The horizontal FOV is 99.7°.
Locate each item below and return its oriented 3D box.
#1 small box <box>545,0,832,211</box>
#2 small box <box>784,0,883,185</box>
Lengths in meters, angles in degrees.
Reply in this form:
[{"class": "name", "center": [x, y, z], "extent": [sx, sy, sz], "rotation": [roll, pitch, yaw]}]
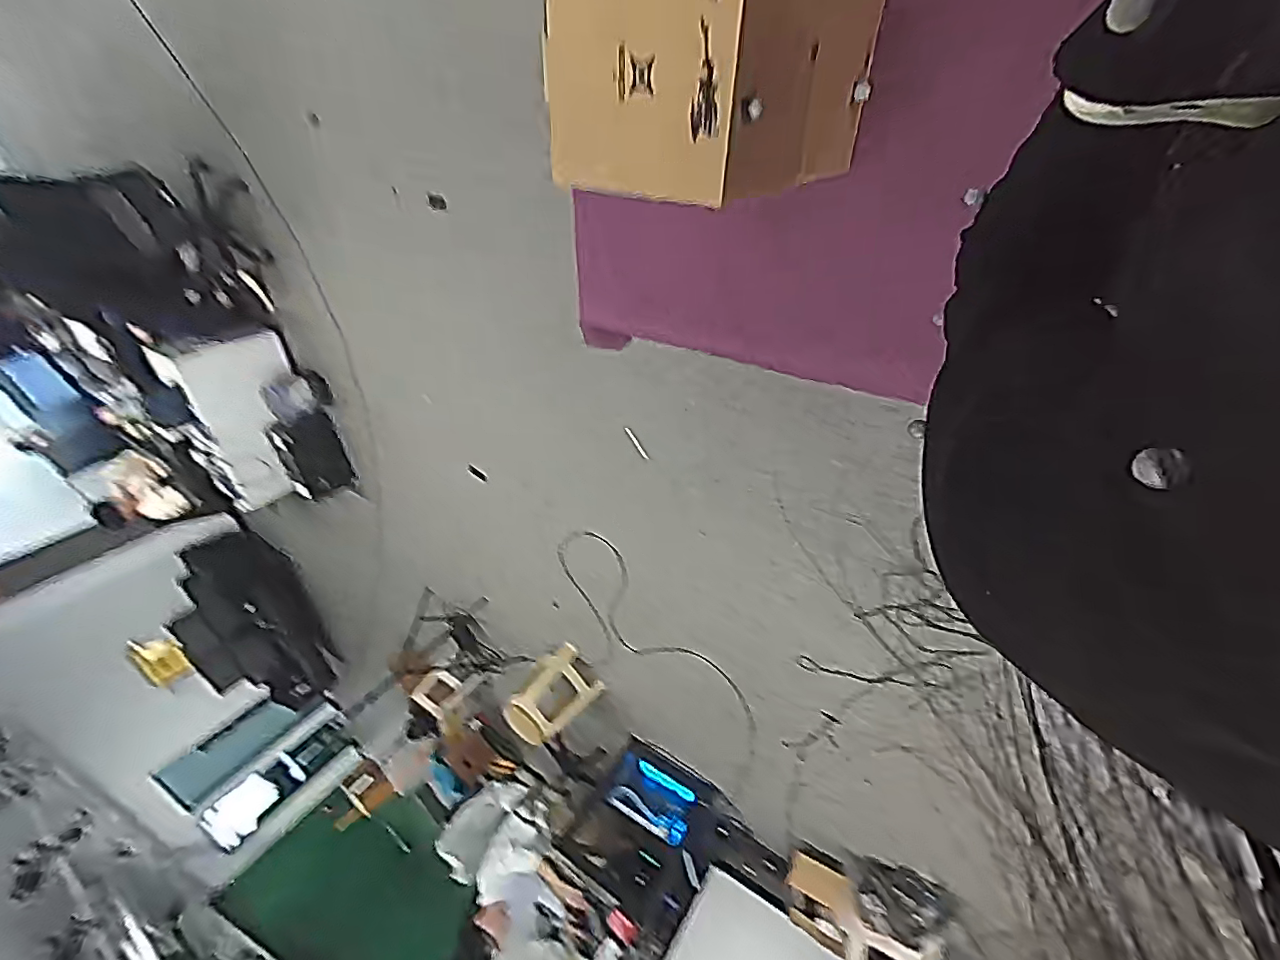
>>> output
[{"class": "small box", "center": [0.039, -0.344, 0.468], "extent": [0.179, 0.176, 0.168], "rotation": [24, 132, 27]}, {"class": "small box", "center": [0.132, -0.422, 0.578], "extent": [0.179, 0.176, 0.168], "rotation": [22, 130, 26]}]
